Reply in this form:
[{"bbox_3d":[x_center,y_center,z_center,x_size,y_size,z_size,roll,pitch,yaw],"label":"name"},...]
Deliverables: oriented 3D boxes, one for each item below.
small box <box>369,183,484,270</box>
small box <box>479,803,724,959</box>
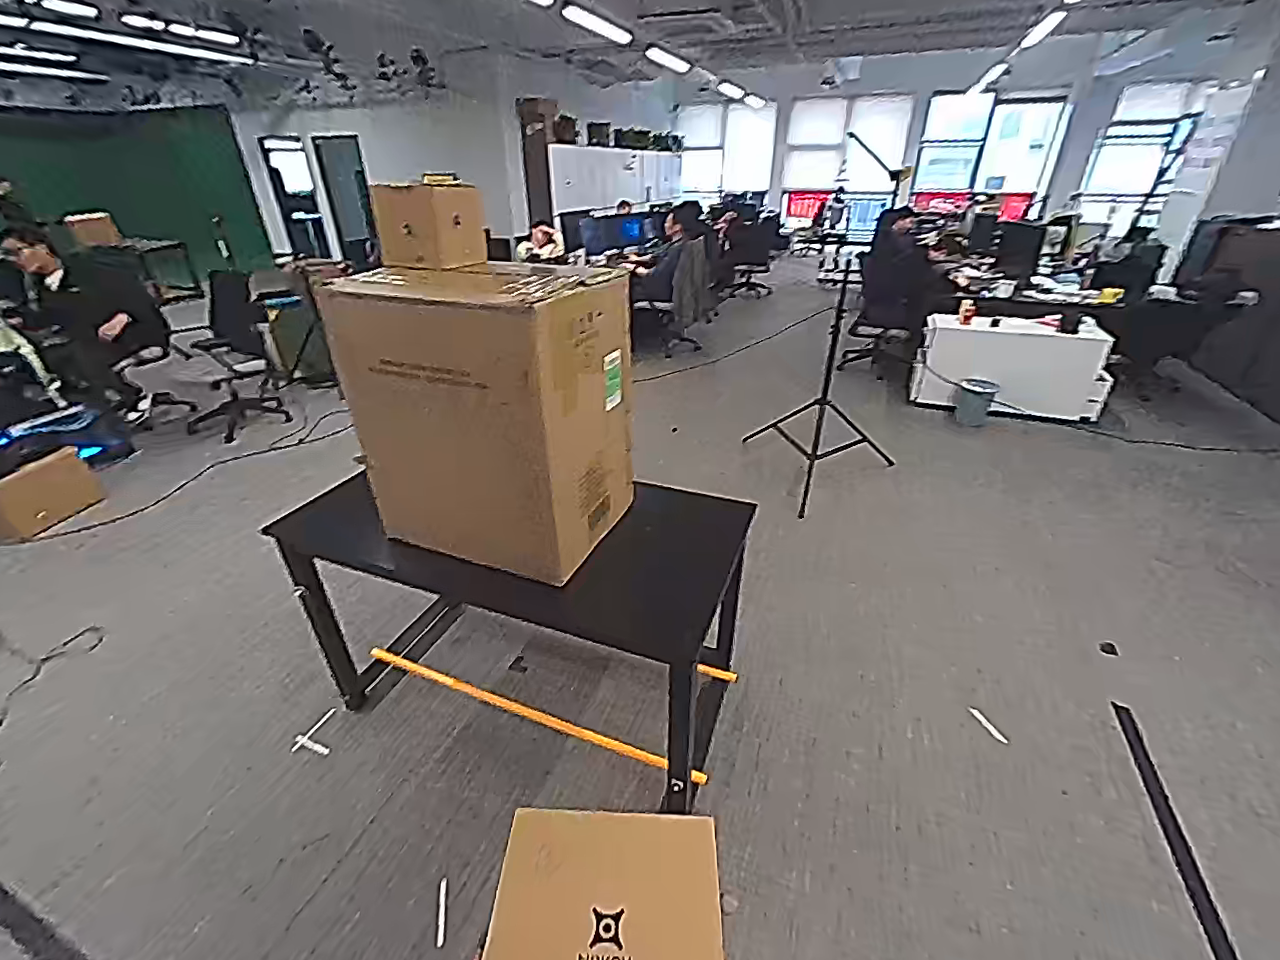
[{"bbox_3d":[-0.474,-0.580,1.234,0.168,0.176,0.179,10,30,16],"label":"small box"},{"bbox_3d":[-0.026,0.382,0.411,0.168,0.176,0.179,1,31,2],"label":"small box"}]
